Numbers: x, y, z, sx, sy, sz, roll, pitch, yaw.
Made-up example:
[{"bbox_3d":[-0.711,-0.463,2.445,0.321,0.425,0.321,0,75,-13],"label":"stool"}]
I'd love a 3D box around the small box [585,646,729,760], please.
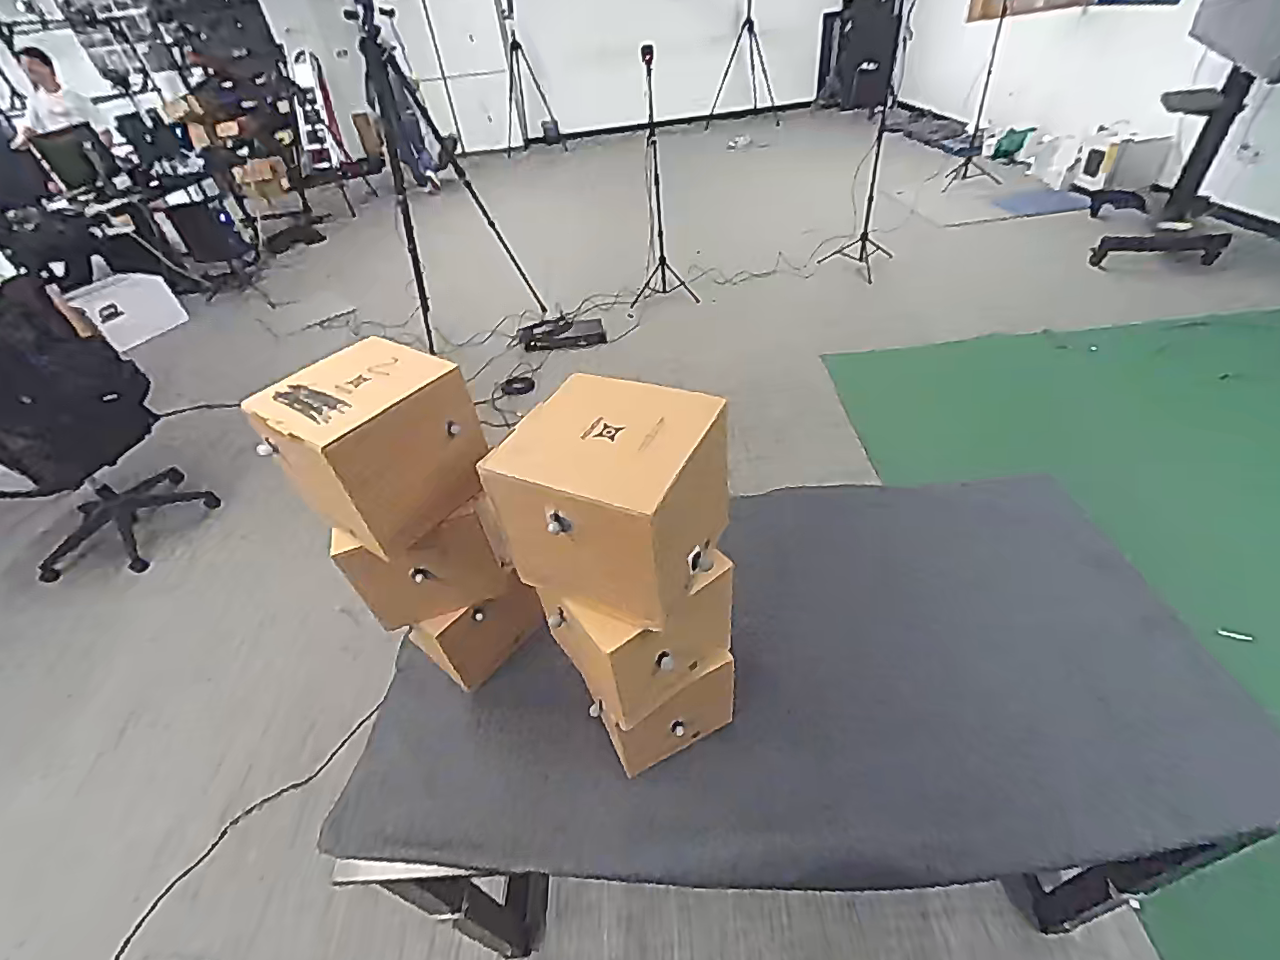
[{"bbox_3d":[0.012,0.258,0.753,0.168,0.176,0.179,-22,43,-16],"label":"small box"}]

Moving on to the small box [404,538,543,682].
[{"bbox_3d":[-0.285,0.192,0.876,0.179,0.176,0.168,25,51,31],"label":"small box"}]

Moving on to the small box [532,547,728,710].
[{"bbox_3d":[-0.011,0.142,0.642,0.168,0.176,0.179,-31,46,-23],"label":"small box"}]

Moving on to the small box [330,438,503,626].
[{"bbox_3d":[-0.303,0.073,0.762,0.179,0.176,0.168,-18,43,-10],"label":"small box"}]

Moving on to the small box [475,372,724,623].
[{"bbox_3d":[-0.025,0.015,0.541,0.179,0.176,0.168,15,47,24],"label":"small box"}]
